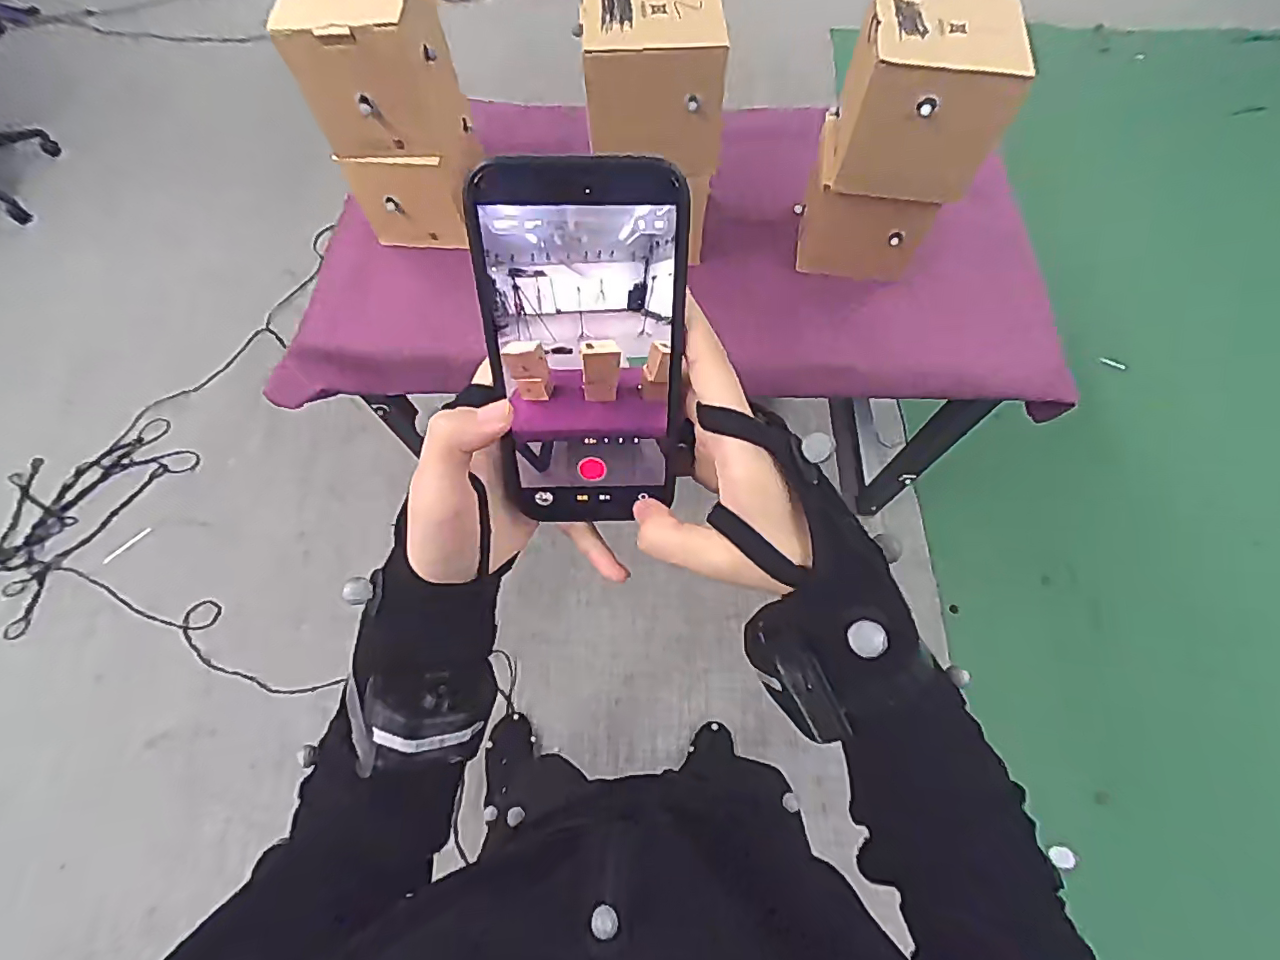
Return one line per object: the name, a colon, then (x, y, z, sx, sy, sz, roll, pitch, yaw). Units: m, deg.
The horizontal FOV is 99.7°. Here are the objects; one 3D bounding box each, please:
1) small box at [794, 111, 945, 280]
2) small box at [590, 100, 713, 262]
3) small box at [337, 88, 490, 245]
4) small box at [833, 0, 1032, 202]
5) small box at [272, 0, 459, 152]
small box: (0.359, -0.446, 0.864, 0.179, 0.176, 0.168, 9, 67, 6)
small box: (0.021, -0.481, 0.885, 0.179, 0.176, 0.168, 3, 67, 3)
small box: (-0.366, -0.524, 0.914, 0.168, 0.176, 0.179, 4, 67, 3)
small box: (0.363, -0.495, 0.707, 0.179, 0.176, 0.168, 9, 67, 4)
small box: (-0.369, -0.595, 0.765, 0.168, 0.176, 0.179, 0, 68, 0)
